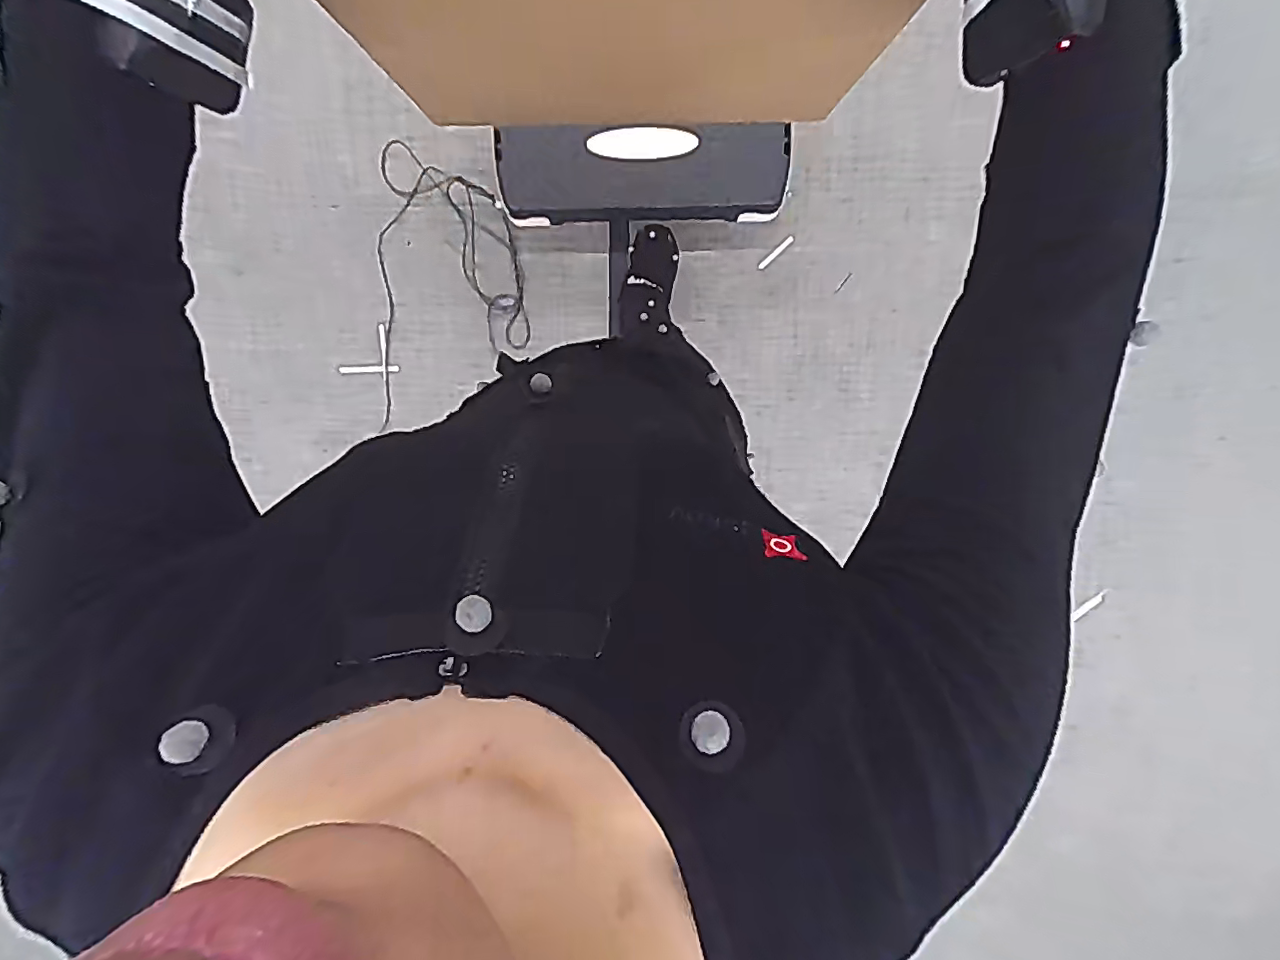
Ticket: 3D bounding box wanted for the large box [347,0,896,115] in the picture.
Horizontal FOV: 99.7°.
[{"bbox_3d":[-0.014,-0.491,0.373,0.408,0.320,0.320,-1,105,0],"label":"large box"}]
